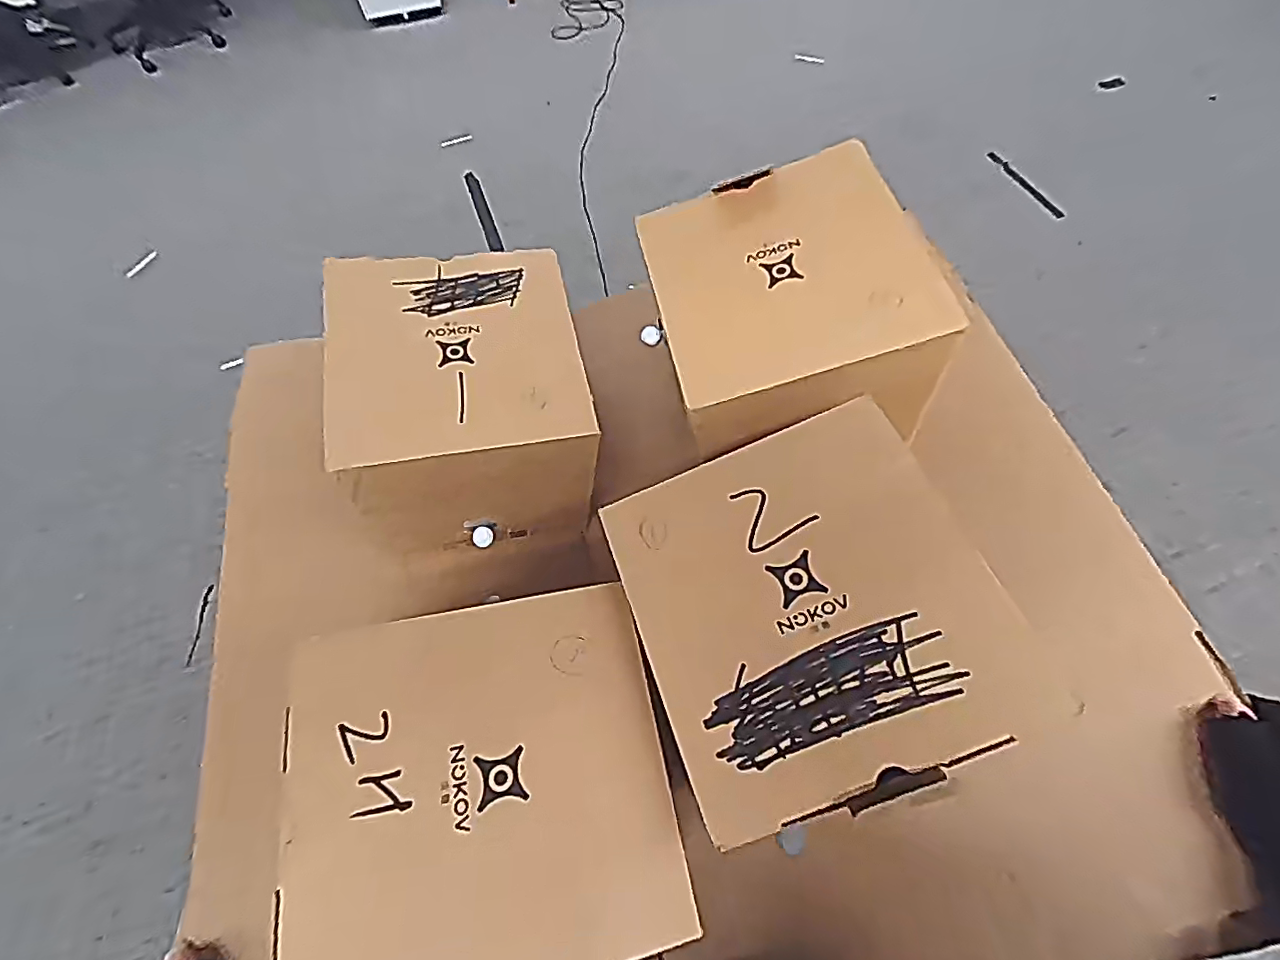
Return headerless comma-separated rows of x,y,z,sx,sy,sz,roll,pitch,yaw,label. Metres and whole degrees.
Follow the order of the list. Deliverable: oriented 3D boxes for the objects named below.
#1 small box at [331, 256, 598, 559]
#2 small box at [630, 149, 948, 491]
-0.136,-0.054,0.446,0.168,0.176,0.179,-9,65,-13,small box
0.105,-0.105,0.426,0.168,0.176,0.179,-16,63,7,small box
